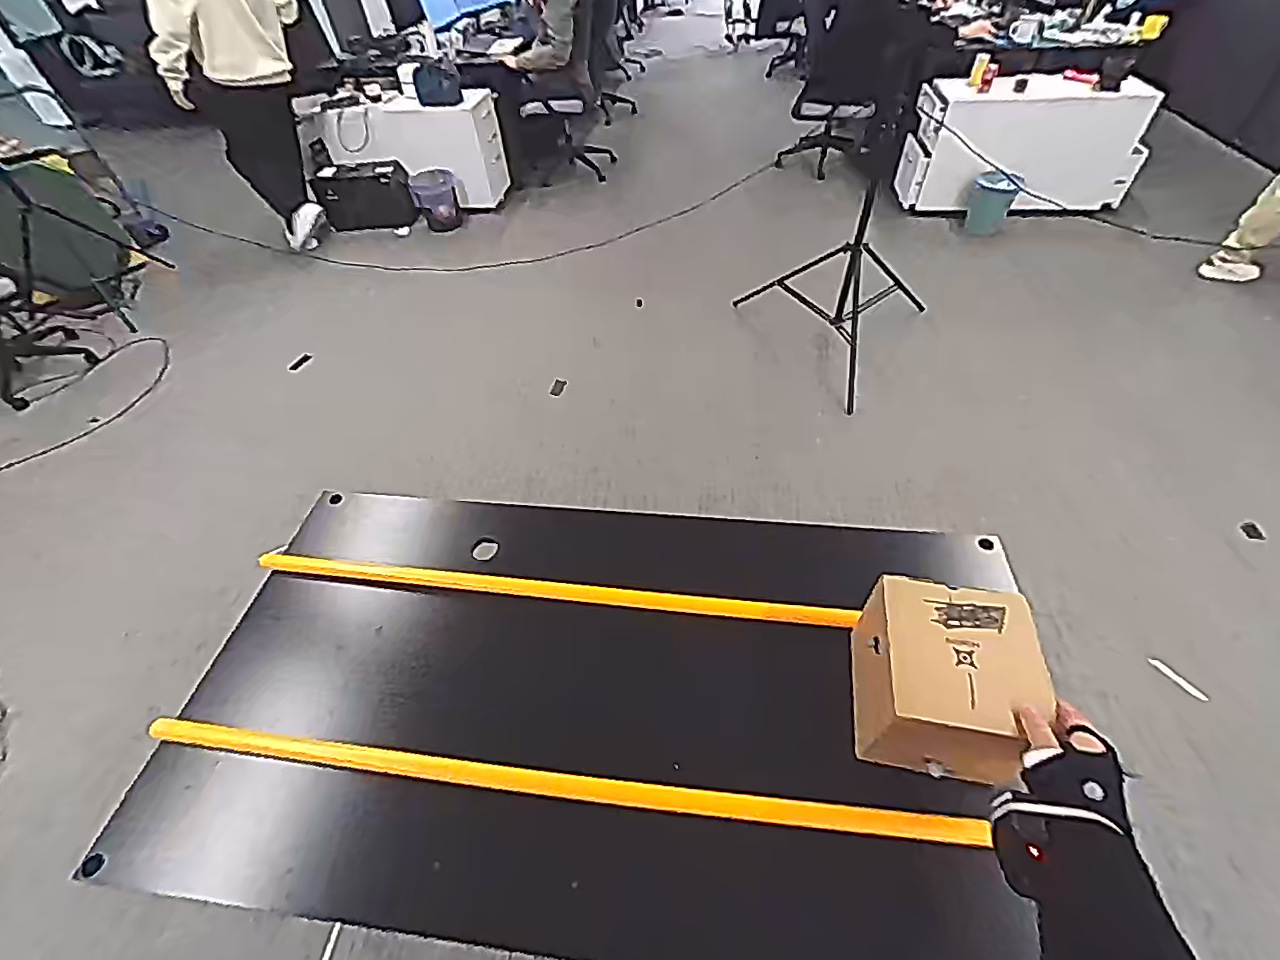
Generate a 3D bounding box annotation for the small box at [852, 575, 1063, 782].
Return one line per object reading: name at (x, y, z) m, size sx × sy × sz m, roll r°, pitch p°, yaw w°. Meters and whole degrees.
small box at (0.368, 0.246, 0.670) m, size 0.168 × 0.176 × 0.179 m, roll 7°, pitch 50°, yaw 11°
